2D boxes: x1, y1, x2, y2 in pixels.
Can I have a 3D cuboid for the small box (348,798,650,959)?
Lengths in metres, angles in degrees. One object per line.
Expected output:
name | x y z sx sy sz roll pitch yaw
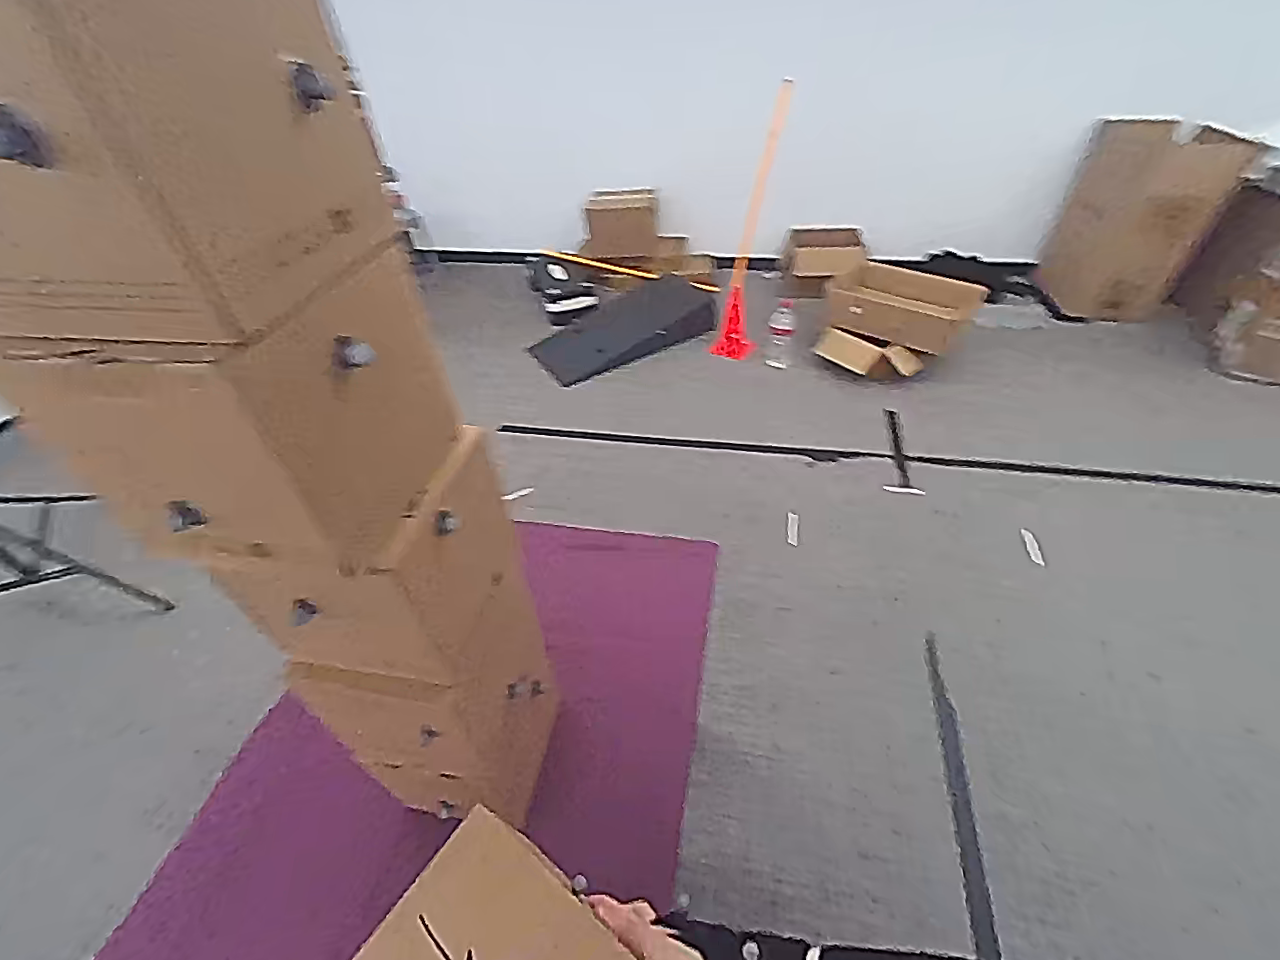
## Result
small box | -0.106 0.406 0.442 0.179 0.176 0.168 27 56 28

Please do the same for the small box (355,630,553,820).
small box | -0.221 0.313 0.703 0.168 0.176 0.179 4 44 11

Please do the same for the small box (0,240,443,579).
small box | -0.262 -0.056 0.383 0.168 0.176 0.179 4 44 9

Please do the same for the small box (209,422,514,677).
small box | -0.238 0.060 0.495 0.179 0.176 0.168 4 43 10

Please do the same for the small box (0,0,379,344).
small box | -0.274 -0.181 0.280 0.179 0.176 0.168 2 42 9
